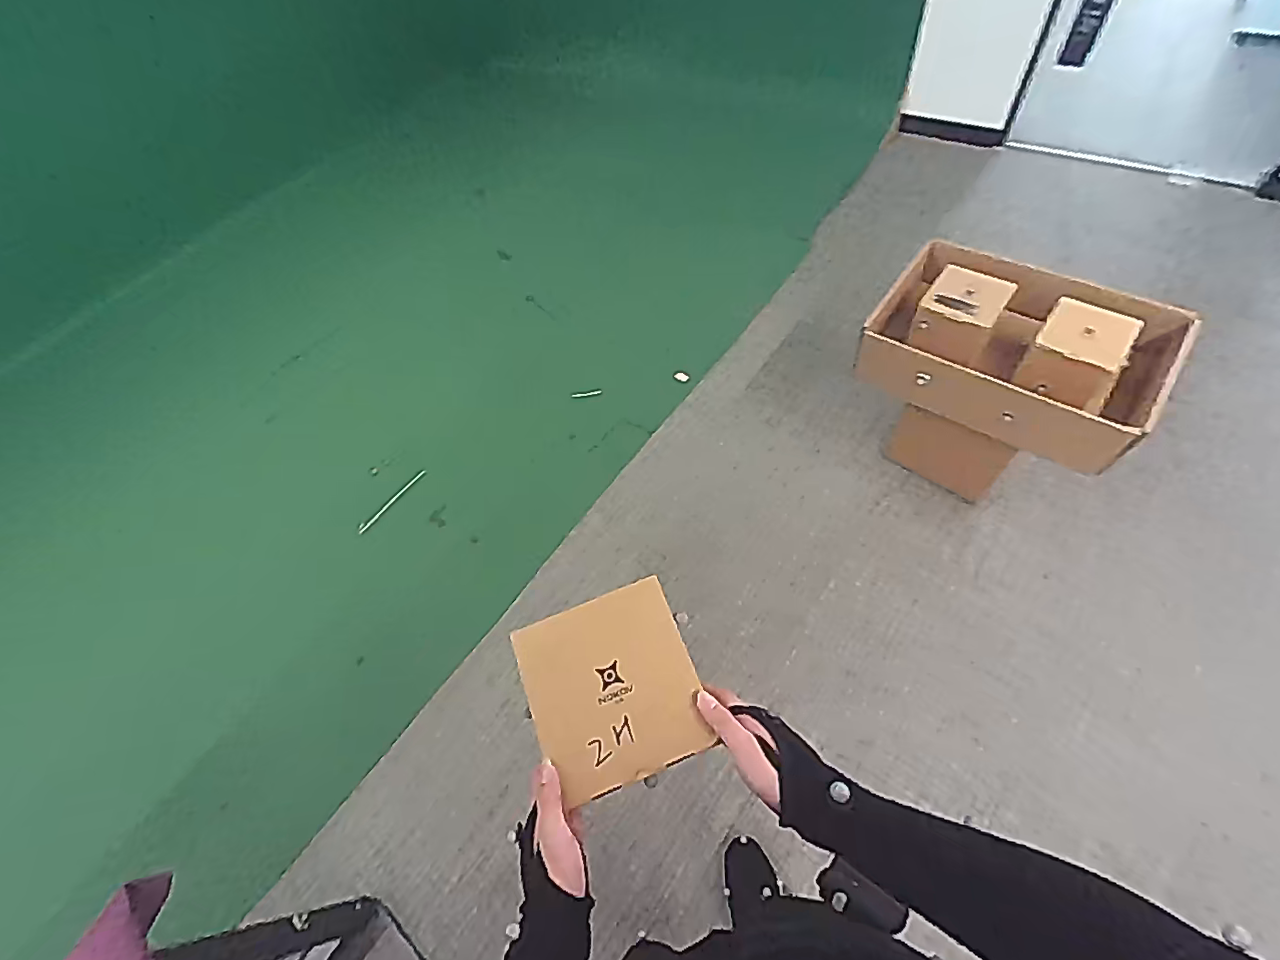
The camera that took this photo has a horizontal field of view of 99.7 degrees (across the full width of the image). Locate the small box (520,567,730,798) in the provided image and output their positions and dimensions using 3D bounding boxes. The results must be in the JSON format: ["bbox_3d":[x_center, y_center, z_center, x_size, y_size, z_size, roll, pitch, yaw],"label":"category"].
[{"bbox_3d":[-0.018,0.222,0.601,0.168,0.176,0.179,-20,67,-6],"label":"small box"}]

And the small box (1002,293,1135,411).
[{"bbox_3d":[0.999,-0.298,1.276,0.168,0.176,0.179,33,70,24],"label":"small box"}]
